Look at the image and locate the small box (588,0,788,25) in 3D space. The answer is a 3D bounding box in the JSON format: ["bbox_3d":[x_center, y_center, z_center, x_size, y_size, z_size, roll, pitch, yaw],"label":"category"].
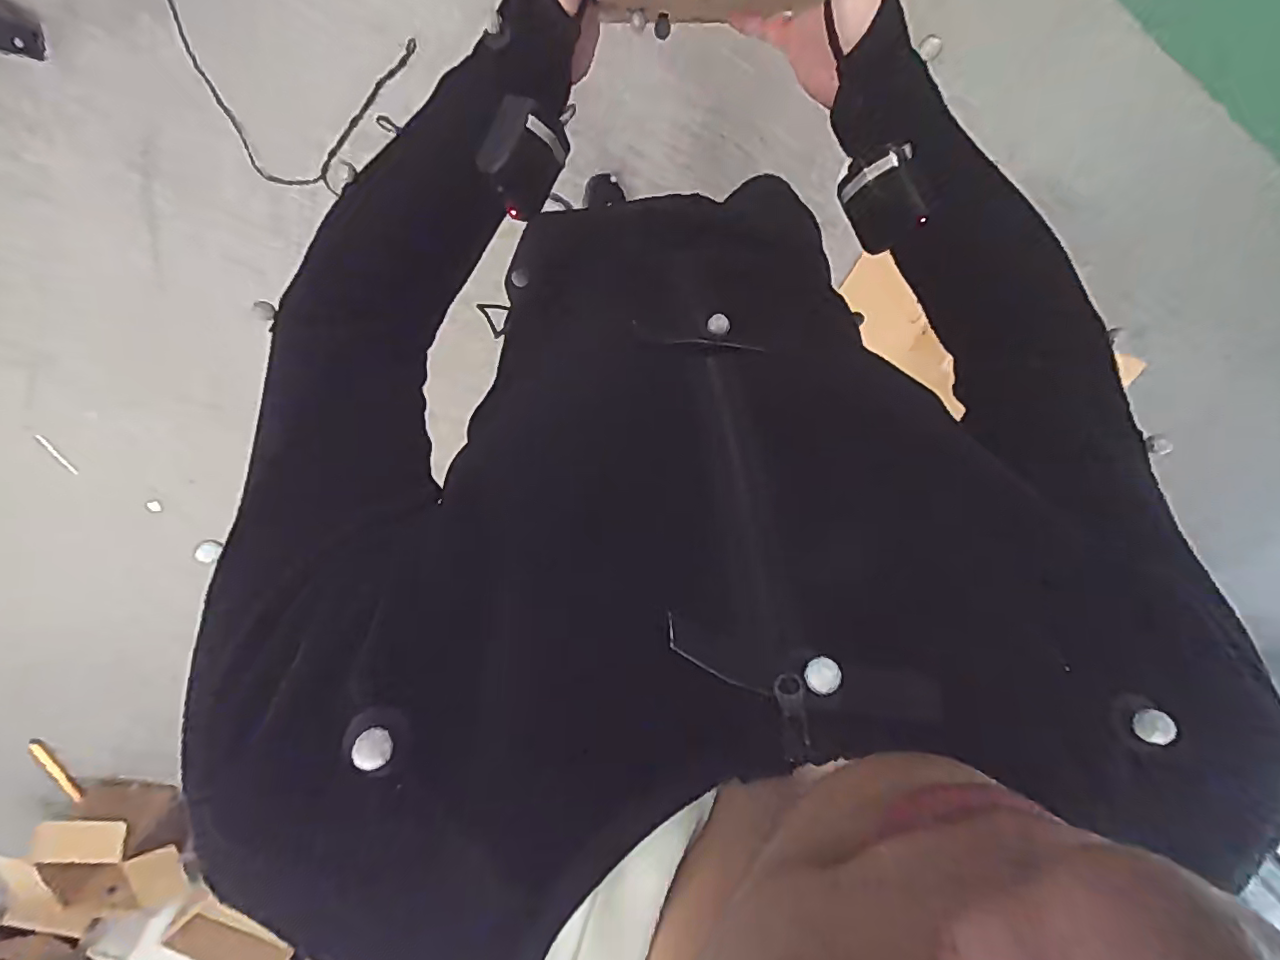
[{"bbox_3d":[0.037,-0.493,0.446,0.168,0.176,0.179,-2,126,-1],"label":"small box"}]

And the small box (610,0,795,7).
[{"bbox_3d":[0.045,-0.396,0.312,0.168,0.176,0.179,-2,125,-1],"label":"small box"}]

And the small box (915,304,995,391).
[{"bbox_3d":[0.914,-0.372,1.499,0.179,0.176,0.168,16,117,-13],"label":"small box"}]
